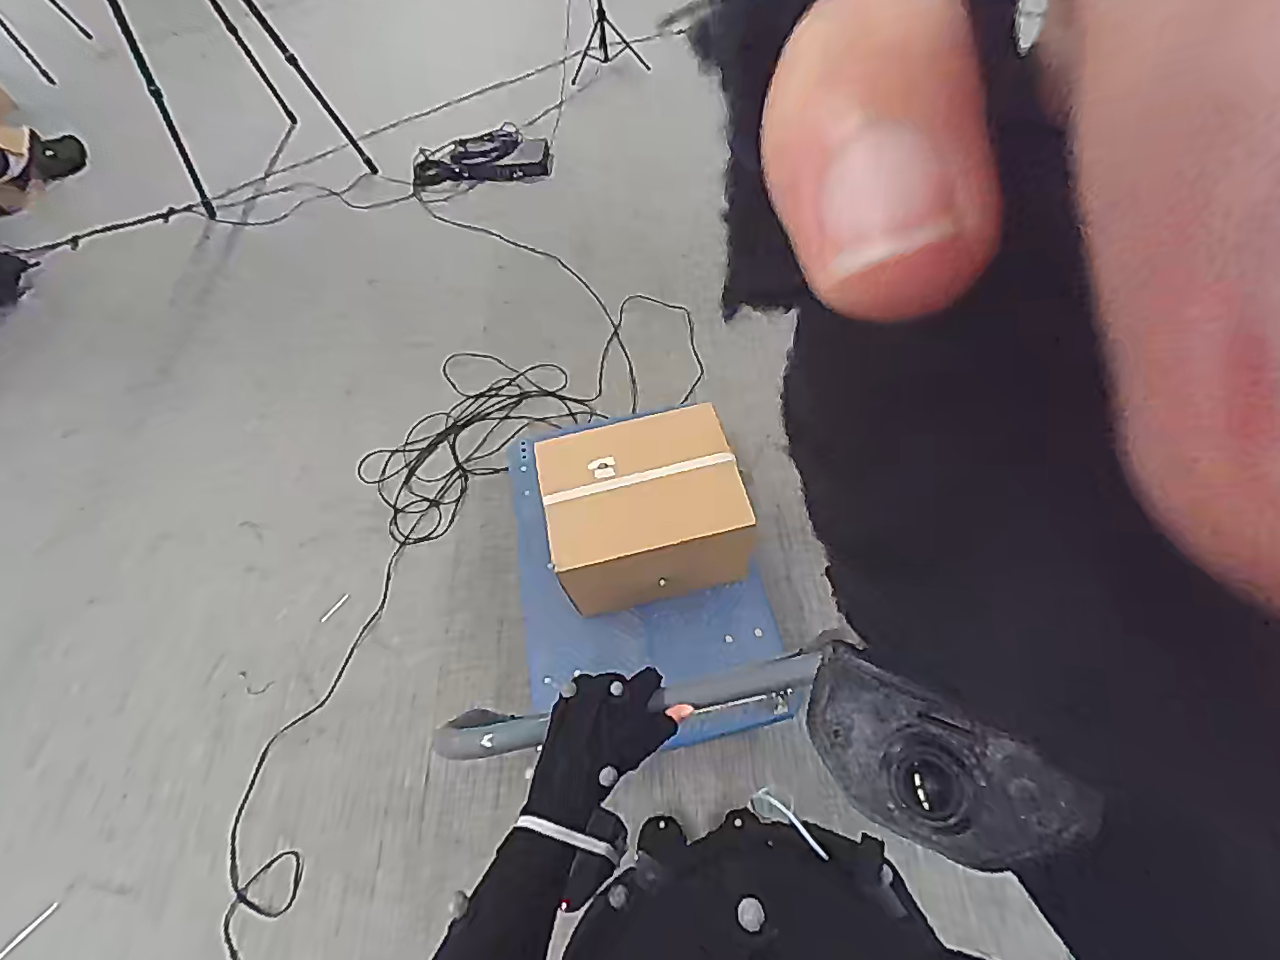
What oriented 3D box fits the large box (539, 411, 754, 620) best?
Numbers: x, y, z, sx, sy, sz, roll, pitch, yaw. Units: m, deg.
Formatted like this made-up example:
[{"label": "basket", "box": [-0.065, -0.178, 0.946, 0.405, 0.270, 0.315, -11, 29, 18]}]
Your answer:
[{"label": "large box", "box": [0.017, 0.094, 1.257, 0.408, 0.320, 0.320, -15, 58, -1]}]
